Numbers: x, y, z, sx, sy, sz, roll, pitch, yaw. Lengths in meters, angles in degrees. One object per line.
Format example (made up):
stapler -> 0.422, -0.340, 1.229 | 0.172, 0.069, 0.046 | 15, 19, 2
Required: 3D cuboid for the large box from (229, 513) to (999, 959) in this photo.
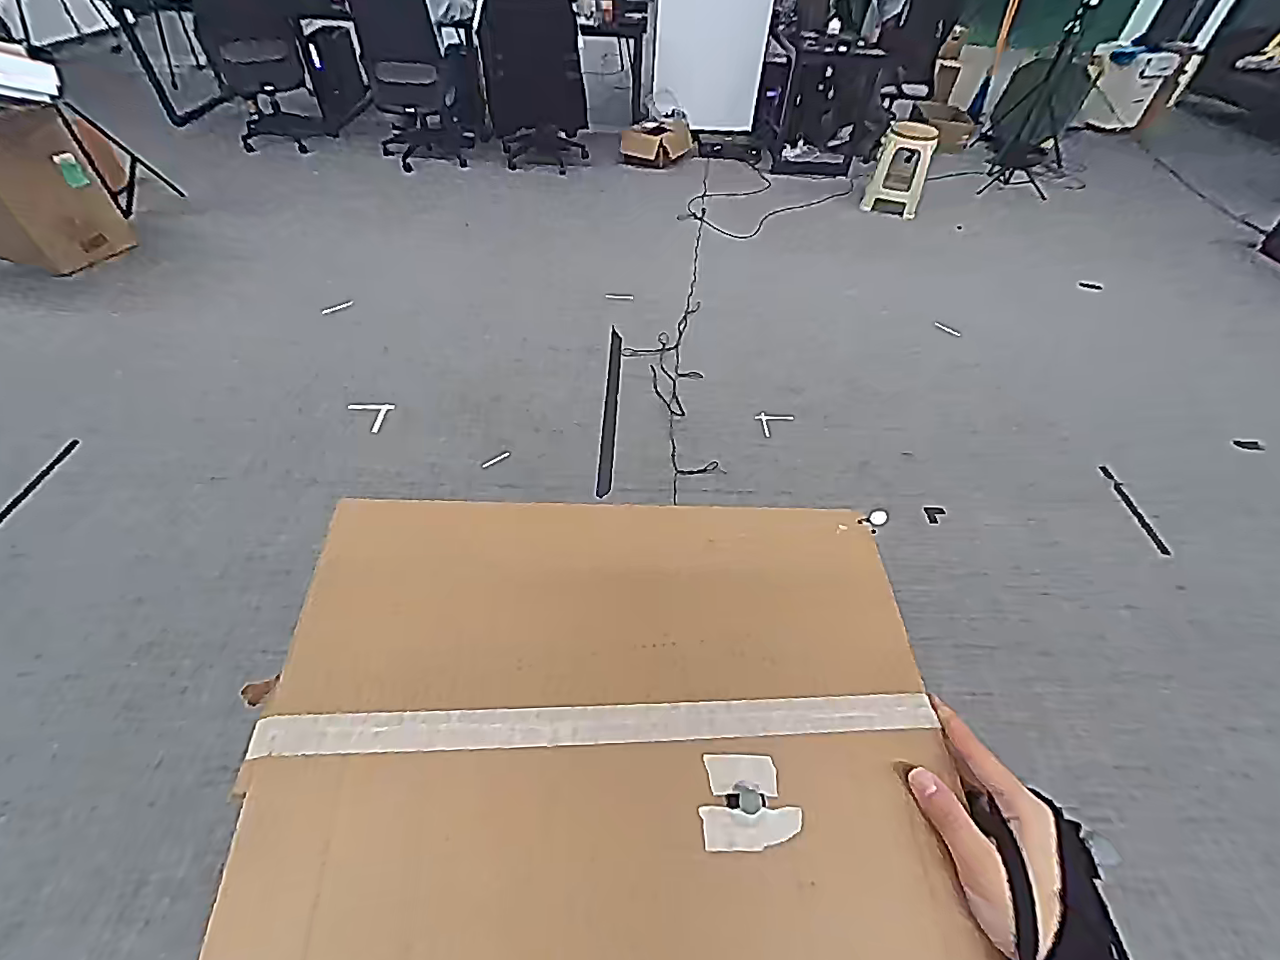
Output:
large box -> -0.028, 0.239, 0.460 | 0.408, 0.320, 0.320 | 2, 56, -8
